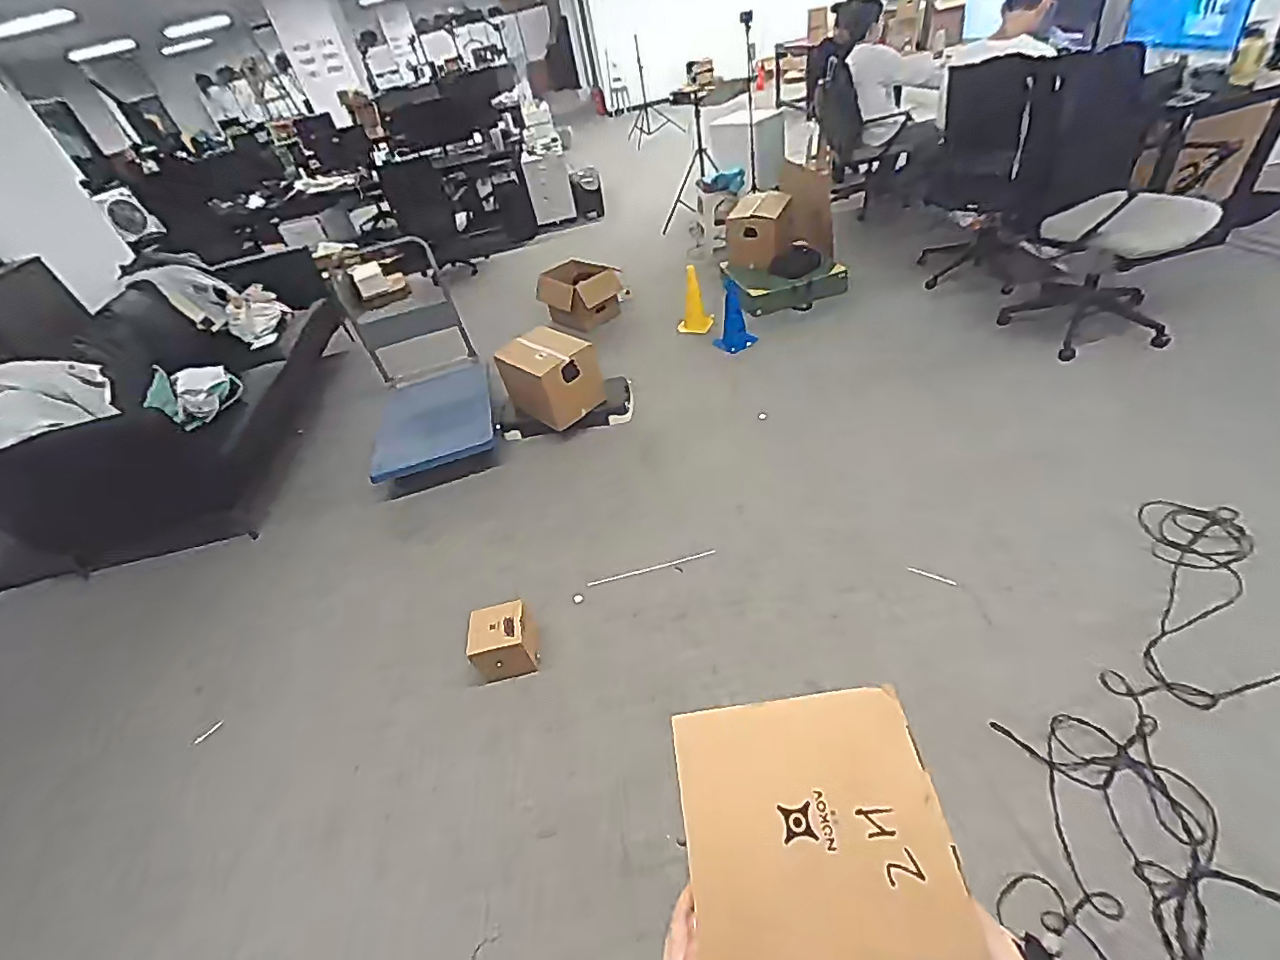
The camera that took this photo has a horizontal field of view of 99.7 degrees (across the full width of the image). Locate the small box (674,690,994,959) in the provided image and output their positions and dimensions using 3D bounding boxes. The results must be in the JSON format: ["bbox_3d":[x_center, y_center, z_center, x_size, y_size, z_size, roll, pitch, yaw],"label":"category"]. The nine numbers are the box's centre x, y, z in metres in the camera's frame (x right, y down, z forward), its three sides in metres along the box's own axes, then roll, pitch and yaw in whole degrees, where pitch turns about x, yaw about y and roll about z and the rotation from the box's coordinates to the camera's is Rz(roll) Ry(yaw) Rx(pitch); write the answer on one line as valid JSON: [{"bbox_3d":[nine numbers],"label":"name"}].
[{"bbox_3d":[0.131,0.284,0.433,0.179,0.176,0.168,-10,54,4],"label":"small box"}]

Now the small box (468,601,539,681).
[{"bbox_3d":[-0.428,0.519,1.732,0.179,0.176,0.168,-14,41,2],"label":"small box"}]
